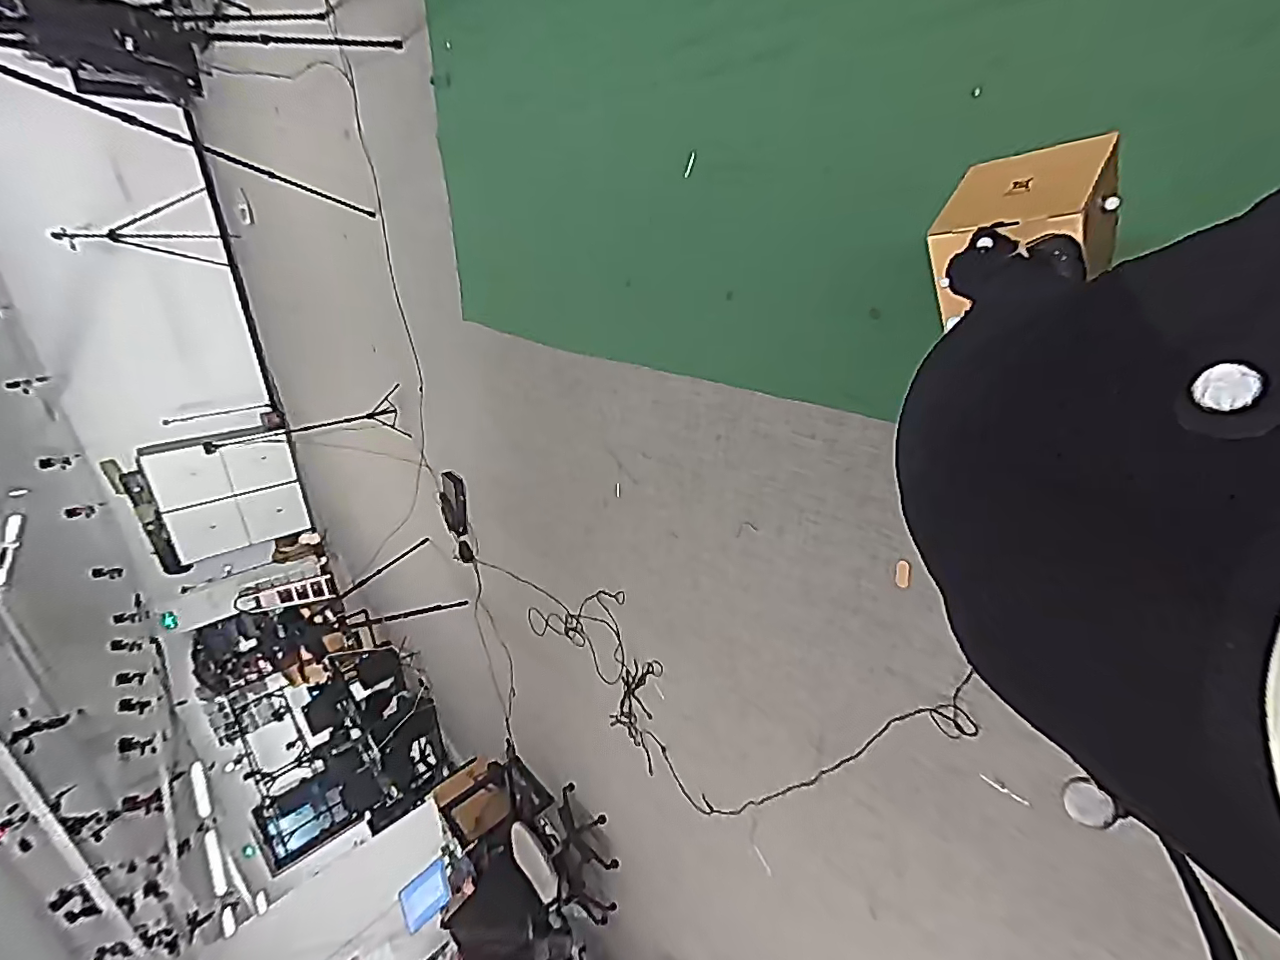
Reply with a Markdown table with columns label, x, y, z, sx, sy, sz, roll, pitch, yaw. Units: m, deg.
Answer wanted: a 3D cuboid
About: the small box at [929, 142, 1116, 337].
| label | x | y | z | sx | sy | sz | roll | pitch | yaw |
| --- | --- | --- | --- | --- | --- | --- | --- | --- | --- |
| small box | 0.527 | -0.319 | 0.747 | 0.168 | 0.179 | 0.176 | 13 | 149 | 47 |
